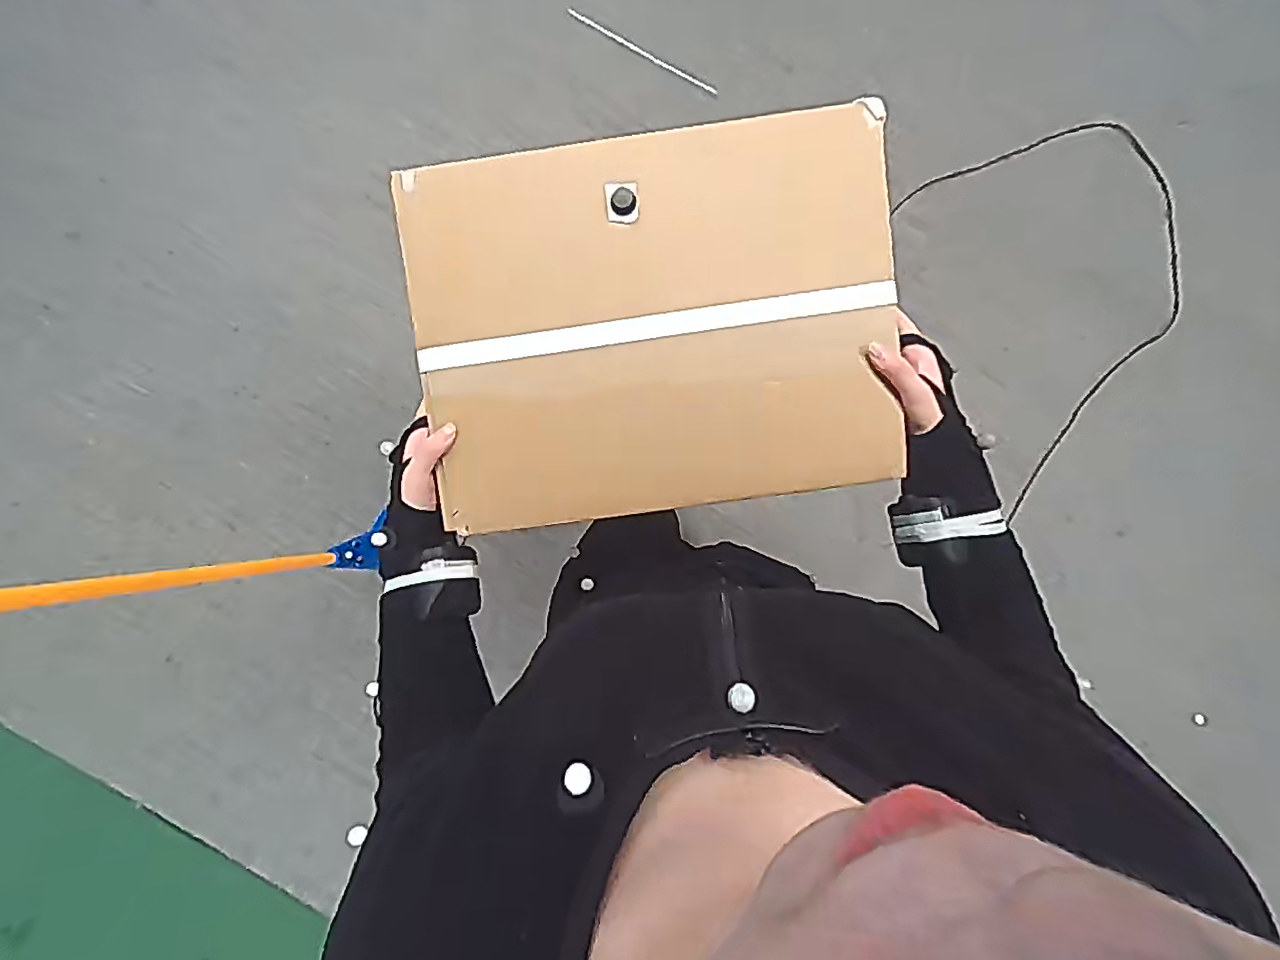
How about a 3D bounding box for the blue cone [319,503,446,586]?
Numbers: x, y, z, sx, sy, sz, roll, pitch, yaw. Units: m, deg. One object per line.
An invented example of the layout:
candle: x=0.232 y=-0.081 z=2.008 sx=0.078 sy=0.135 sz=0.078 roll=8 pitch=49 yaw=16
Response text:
blue cone: x=-0.647 y=0.169 z=1.301 sx=0.193 sy=0.380 sz=0.192 roll=28 pitch=88 yaw=2
